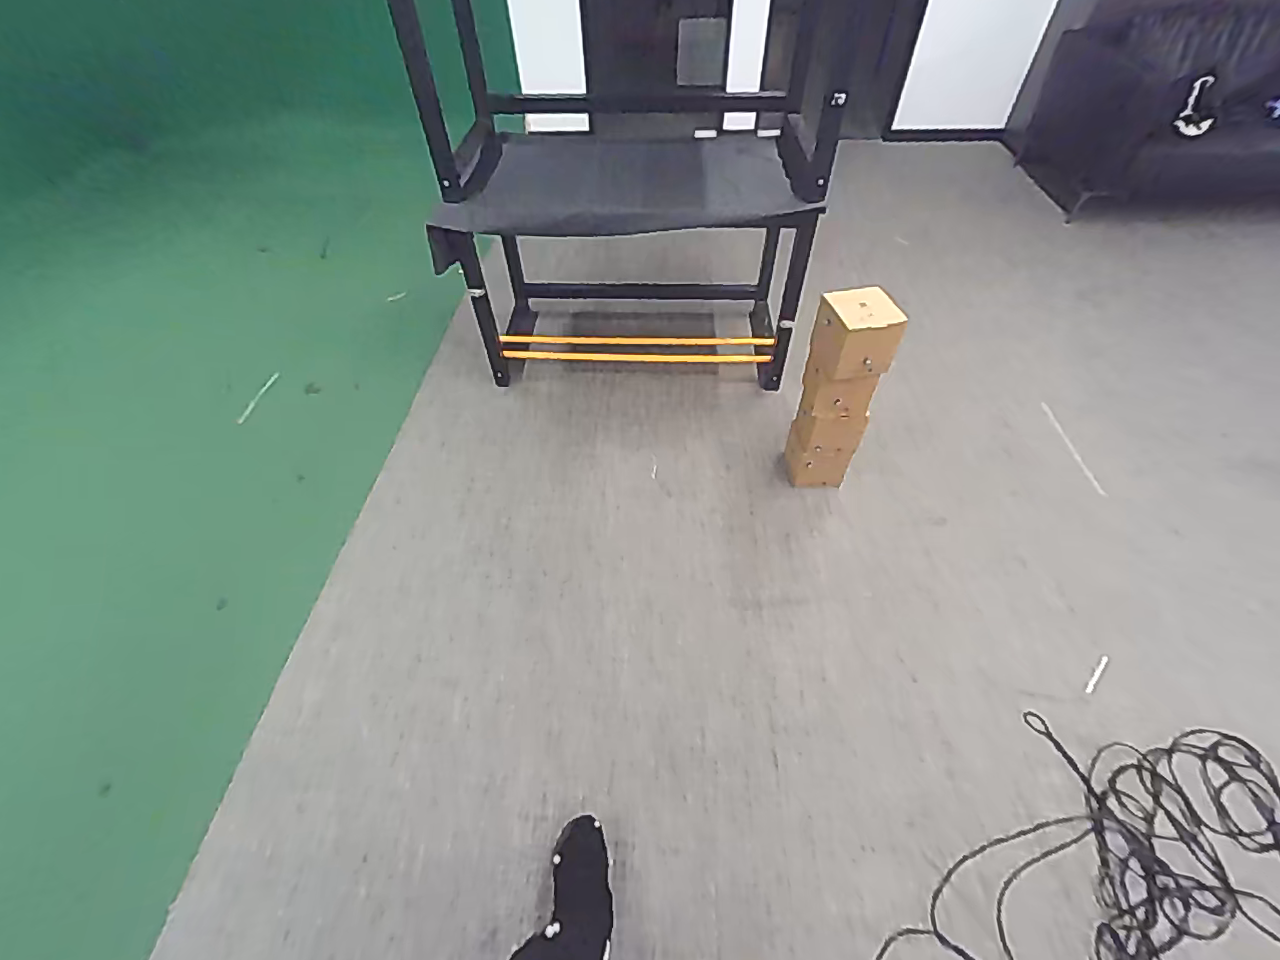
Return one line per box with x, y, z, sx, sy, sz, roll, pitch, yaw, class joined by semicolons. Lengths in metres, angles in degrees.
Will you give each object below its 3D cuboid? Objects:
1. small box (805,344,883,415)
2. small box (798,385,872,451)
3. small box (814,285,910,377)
0.603;-0.316;1.620;0.168;0.176;0.179;0;50;3;small box
0.620;-0.206;1.739;0.168;0.176;0.179;-1;49;1;small box
0.597;-0.407;1.483;0.168;0.176;0.179;-9;51;-5;small box
